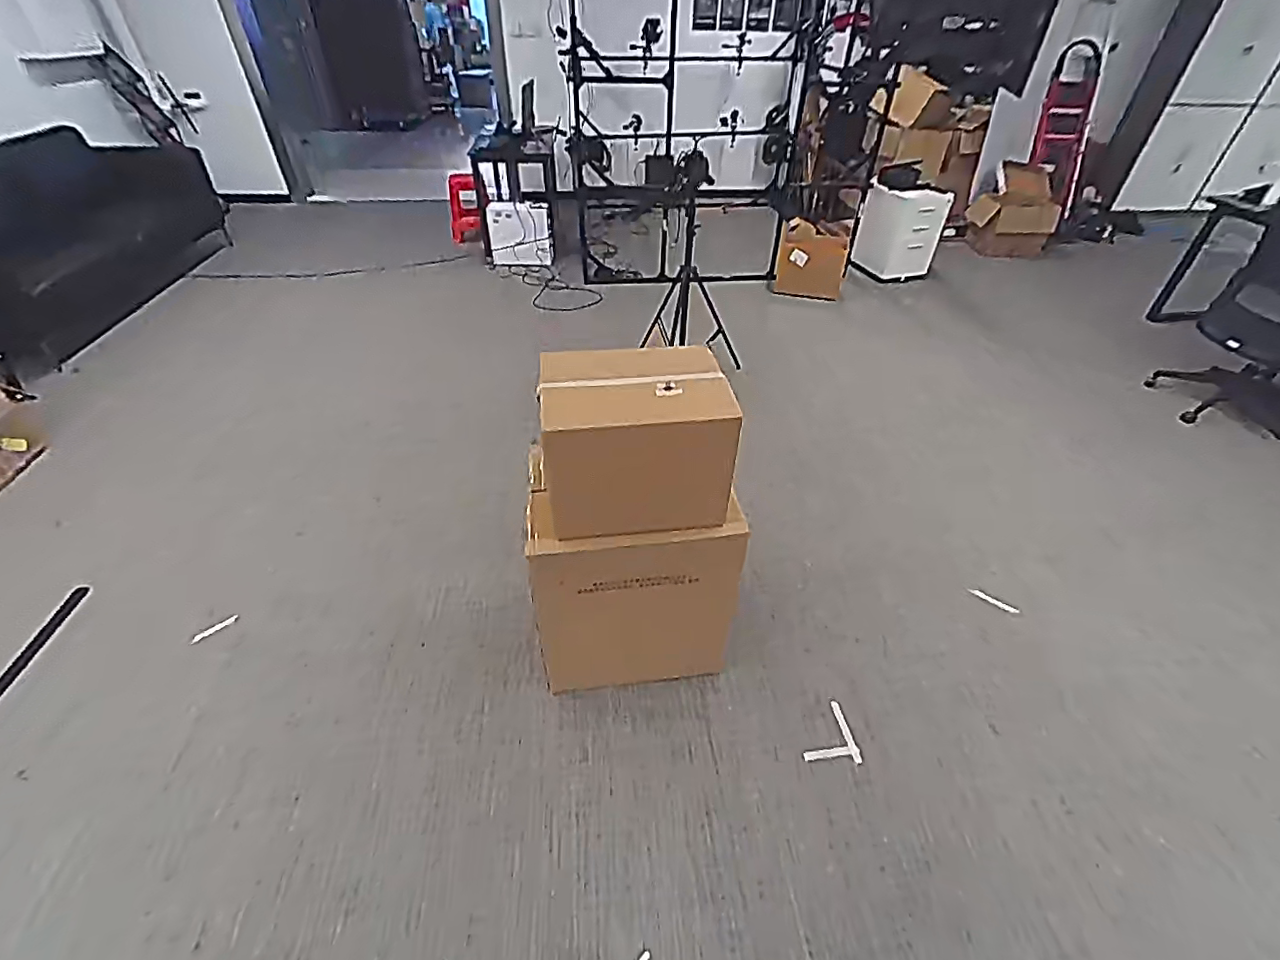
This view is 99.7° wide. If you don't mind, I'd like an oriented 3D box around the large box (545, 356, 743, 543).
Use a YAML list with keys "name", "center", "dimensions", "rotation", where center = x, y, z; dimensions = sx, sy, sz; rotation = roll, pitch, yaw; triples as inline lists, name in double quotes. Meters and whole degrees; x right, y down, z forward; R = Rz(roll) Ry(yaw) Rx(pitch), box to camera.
- name: "large box"
  center: [-0.010, -0.078, 1.286]
  dimensions: [0.408, 0.320, 0.320]
  rotation: [-4, 41, -7]
